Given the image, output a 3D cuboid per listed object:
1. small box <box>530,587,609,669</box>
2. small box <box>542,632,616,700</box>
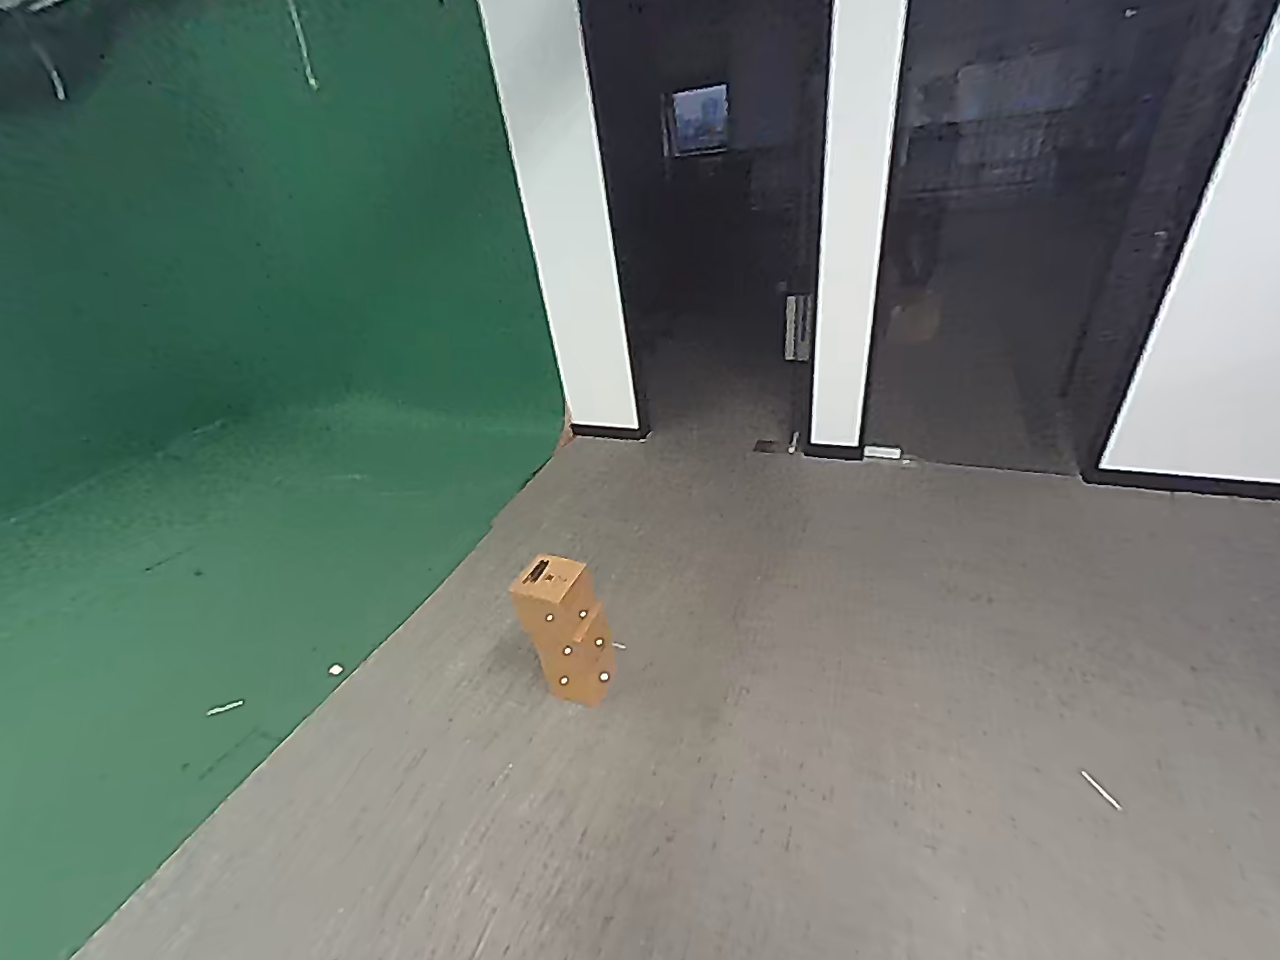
[{"bbox_3d":[-0.212,0.466,1.698,0.179,0.176,0.168,7,36,22],"label":"small box"},{"bbox_3d":[-0.195,0.600,1.793,0.179,0.176,0.168,6,37,22],"label":"small box"}]
